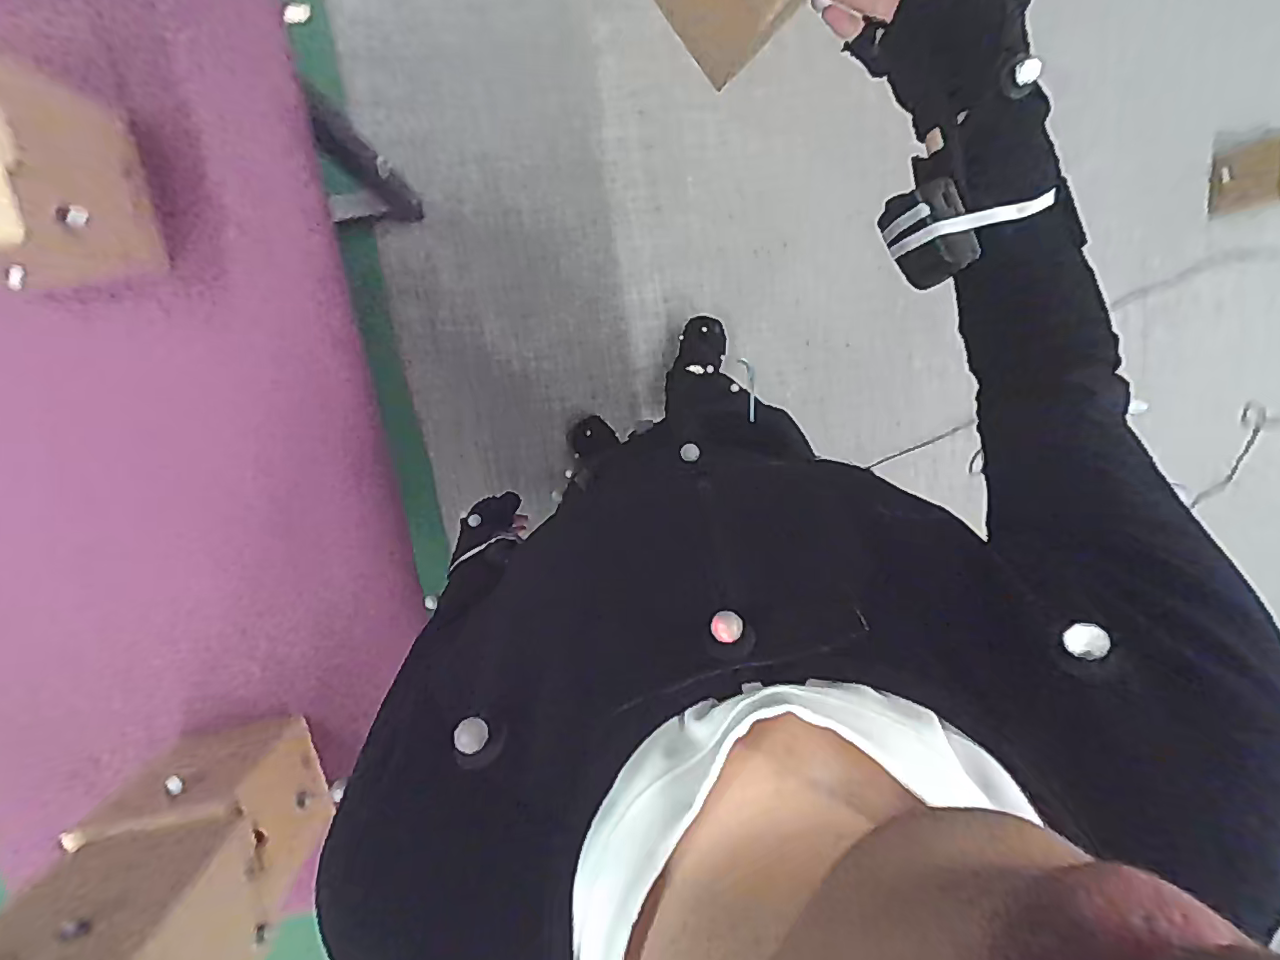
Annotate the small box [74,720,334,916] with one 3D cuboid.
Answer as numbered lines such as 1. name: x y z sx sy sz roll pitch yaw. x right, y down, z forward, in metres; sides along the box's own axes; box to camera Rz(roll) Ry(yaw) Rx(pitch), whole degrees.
1. small box: -0.536 0.442 0.695 0.179 0.176 0.168 -12 101 -4

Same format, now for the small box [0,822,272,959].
1. small box: -0.504 0.478 0.537 0.179 0.176 0.168 -7 101 -4

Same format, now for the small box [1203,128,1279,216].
1. small box: 1.647 -0.807 1.412 0.179 0.176 0.168 -7 100 -4
